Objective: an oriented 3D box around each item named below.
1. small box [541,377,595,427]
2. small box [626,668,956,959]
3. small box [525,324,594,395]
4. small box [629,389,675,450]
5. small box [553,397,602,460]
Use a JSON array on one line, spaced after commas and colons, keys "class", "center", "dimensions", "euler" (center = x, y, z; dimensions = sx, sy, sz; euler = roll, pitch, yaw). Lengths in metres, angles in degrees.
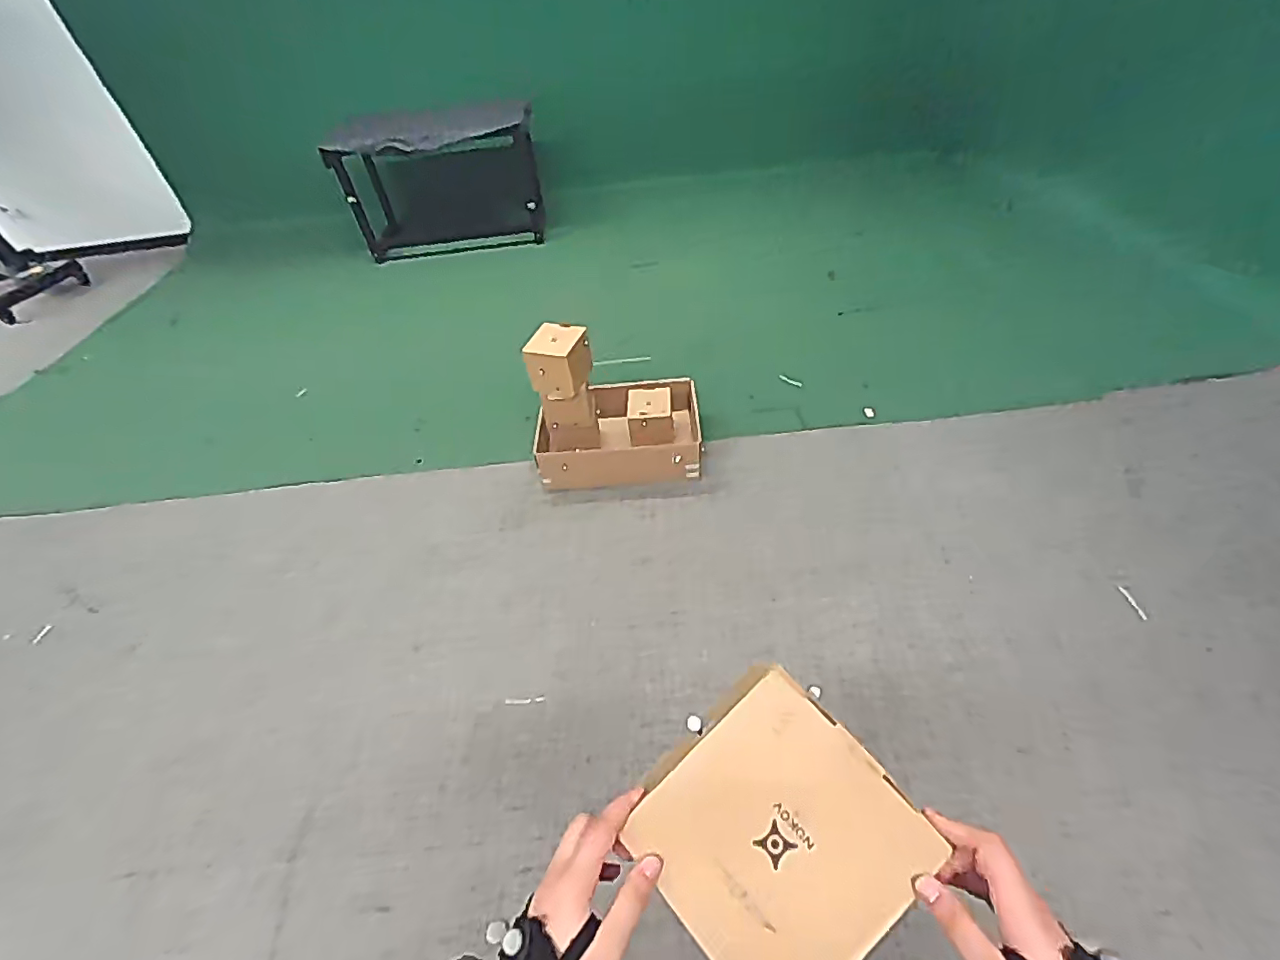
[{"class": "small box", "center": [-0.259, -0.306, 1.989], "dimensions": [0.168, 0.176, 0.179], "euler": [-4, 45, 1]}, {"class": "small box", "center": [0.112, 0.279, 0.459], "dimensions": [0.179, 0.176, 0.168], "euler": [-43, 72, -7]}, {"class": "small box", "center": [-0.269, -0.413, 1.867], "dimensions": [0.168, 0.176, 0.179], "euler": [12, 48, 17]}, {"class": "small box", "center": [0.050, -0.237, 2.118], "dimensions": [0.168, 0.176, 0.179], "euler": [-2, 46, 6]}, {"class": "small box", "center": [-0.240, -0.200, 2.114], "dimensions": [0.168, 0.176, 0.179], "euler": [-6, 46, 1]}]
